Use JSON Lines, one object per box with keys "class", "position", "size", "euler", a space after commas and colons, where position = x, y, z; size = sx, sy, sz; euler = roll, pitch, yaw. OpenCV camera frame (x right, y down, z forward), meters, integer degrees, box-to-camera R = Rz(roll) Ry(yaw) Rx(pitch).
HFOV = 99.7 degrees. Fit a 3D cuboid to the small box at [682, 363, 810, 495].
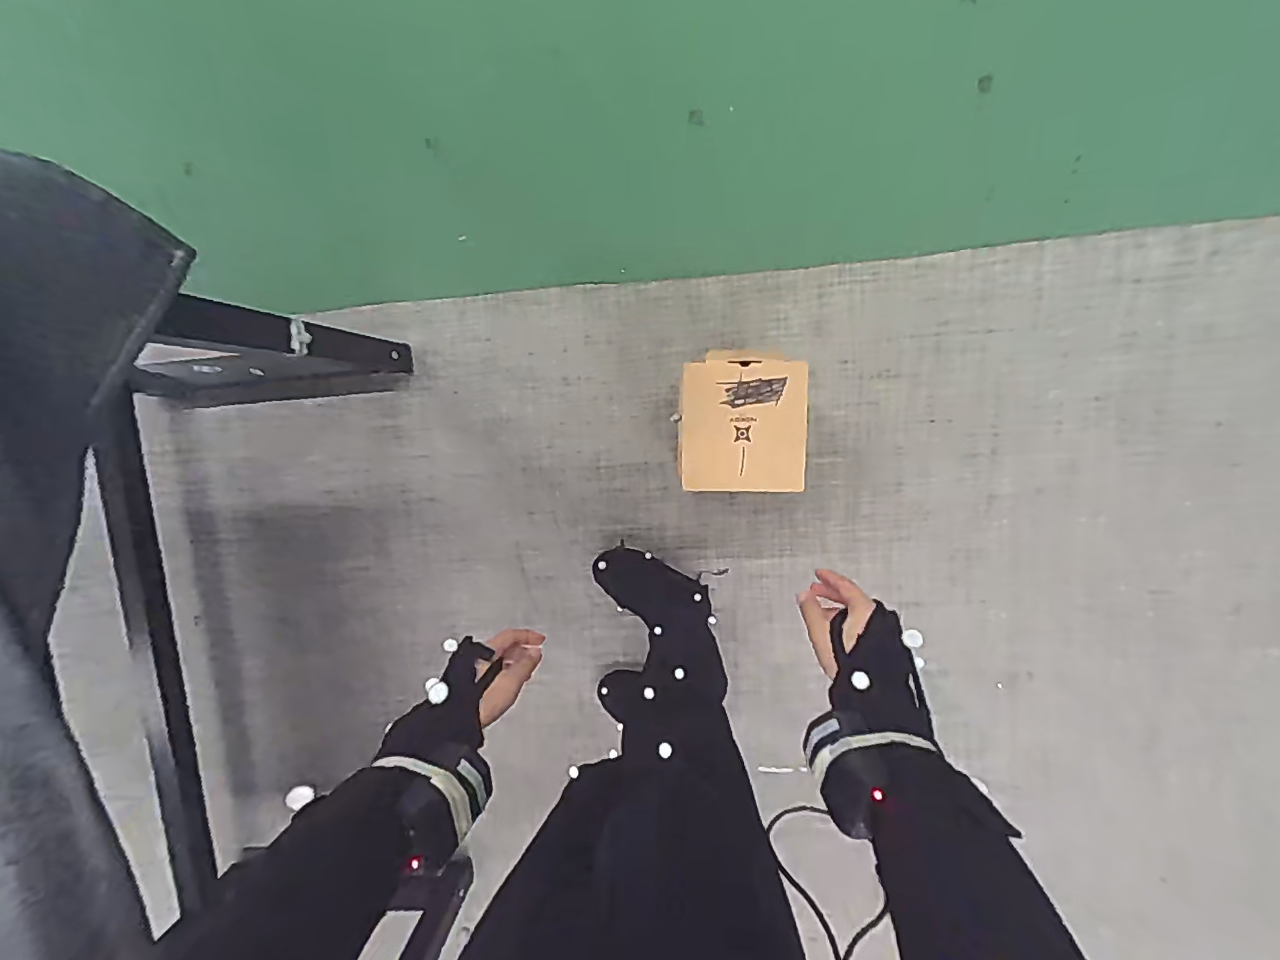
{"class": "small box", "position": [0.147, -0.076, 0.798], "size": [0.168, 0.176, 0.179], "euler": [1, 97, 6]}
